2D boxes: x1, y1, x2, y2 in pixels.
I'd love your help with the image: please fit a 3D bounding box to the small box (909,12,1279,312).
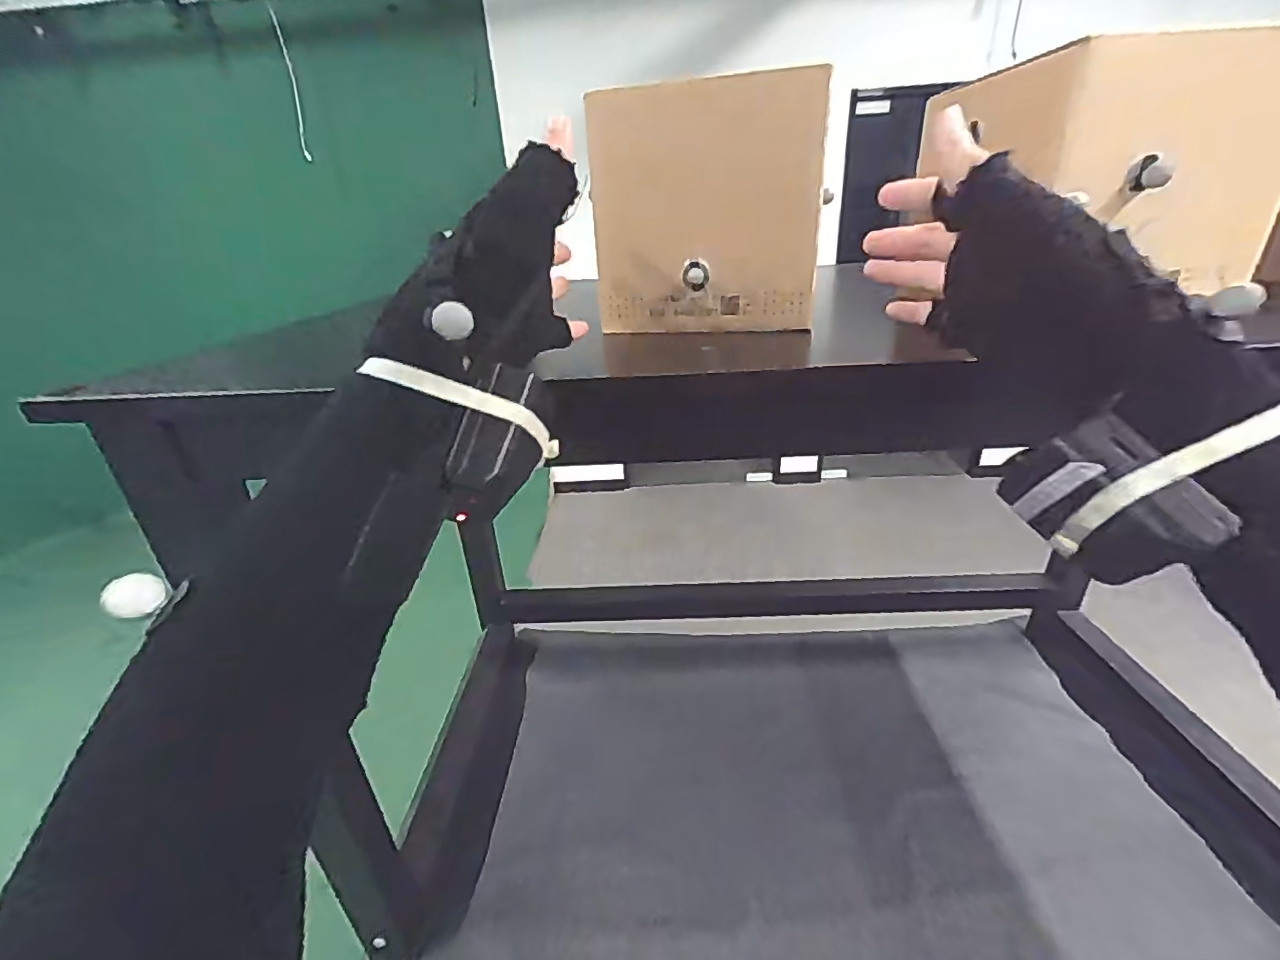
[{"bbox_3d":[0.338,-0.227,0.419,0.168,0.176,0.179,-4,25,-2],"label":"small box"}]
